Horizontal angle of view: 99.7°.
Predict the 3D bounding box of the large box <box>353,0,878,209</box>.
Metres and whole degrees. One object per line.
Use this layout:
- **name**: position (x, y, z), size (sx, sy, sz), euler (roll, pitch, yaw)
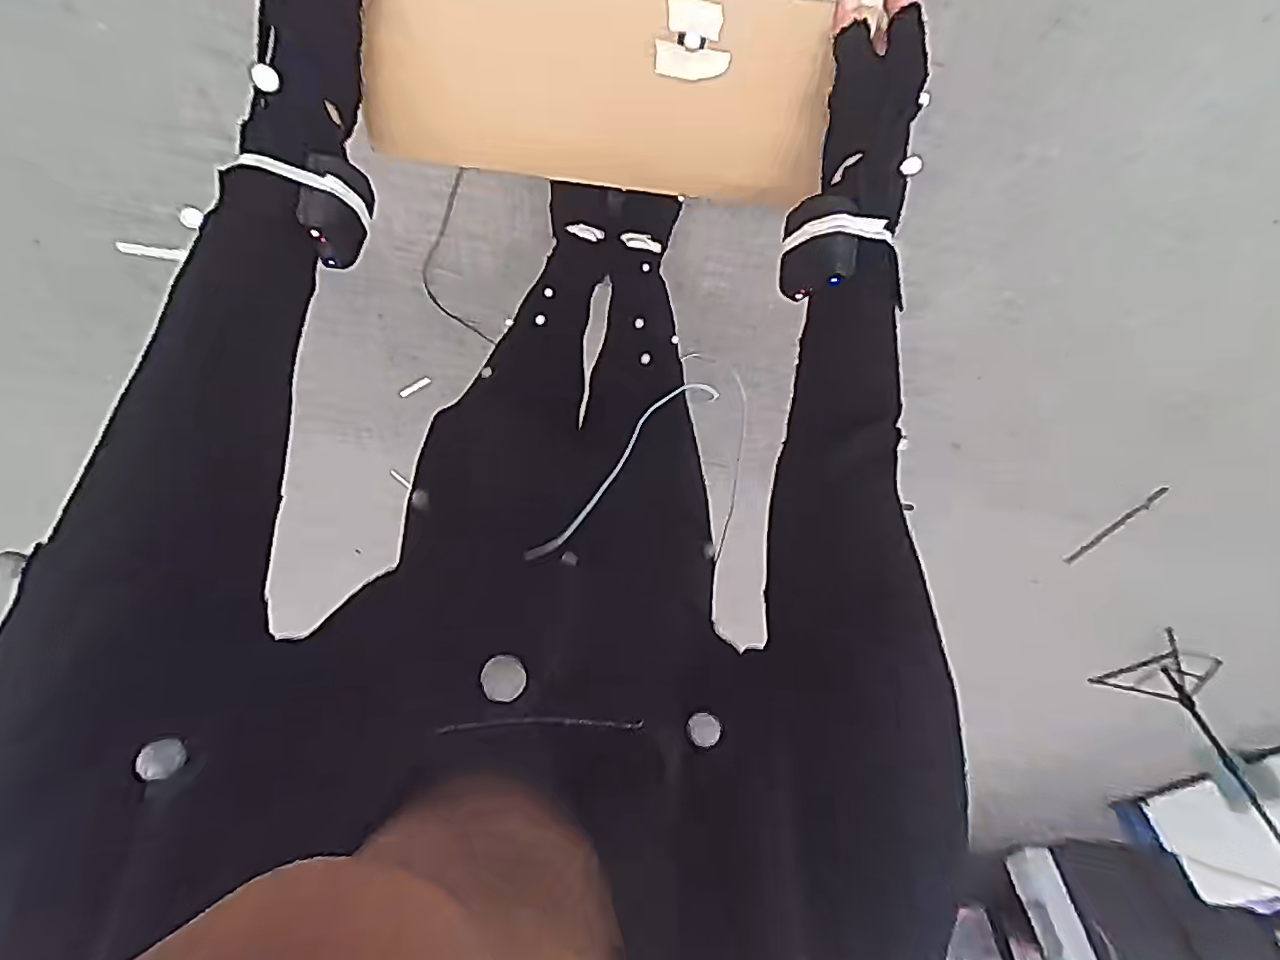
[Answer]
- **large box**: position (-0.017, -0.481, 0.503), size (0.408, 0.320, 0.320), euler (5, 133, -4)
